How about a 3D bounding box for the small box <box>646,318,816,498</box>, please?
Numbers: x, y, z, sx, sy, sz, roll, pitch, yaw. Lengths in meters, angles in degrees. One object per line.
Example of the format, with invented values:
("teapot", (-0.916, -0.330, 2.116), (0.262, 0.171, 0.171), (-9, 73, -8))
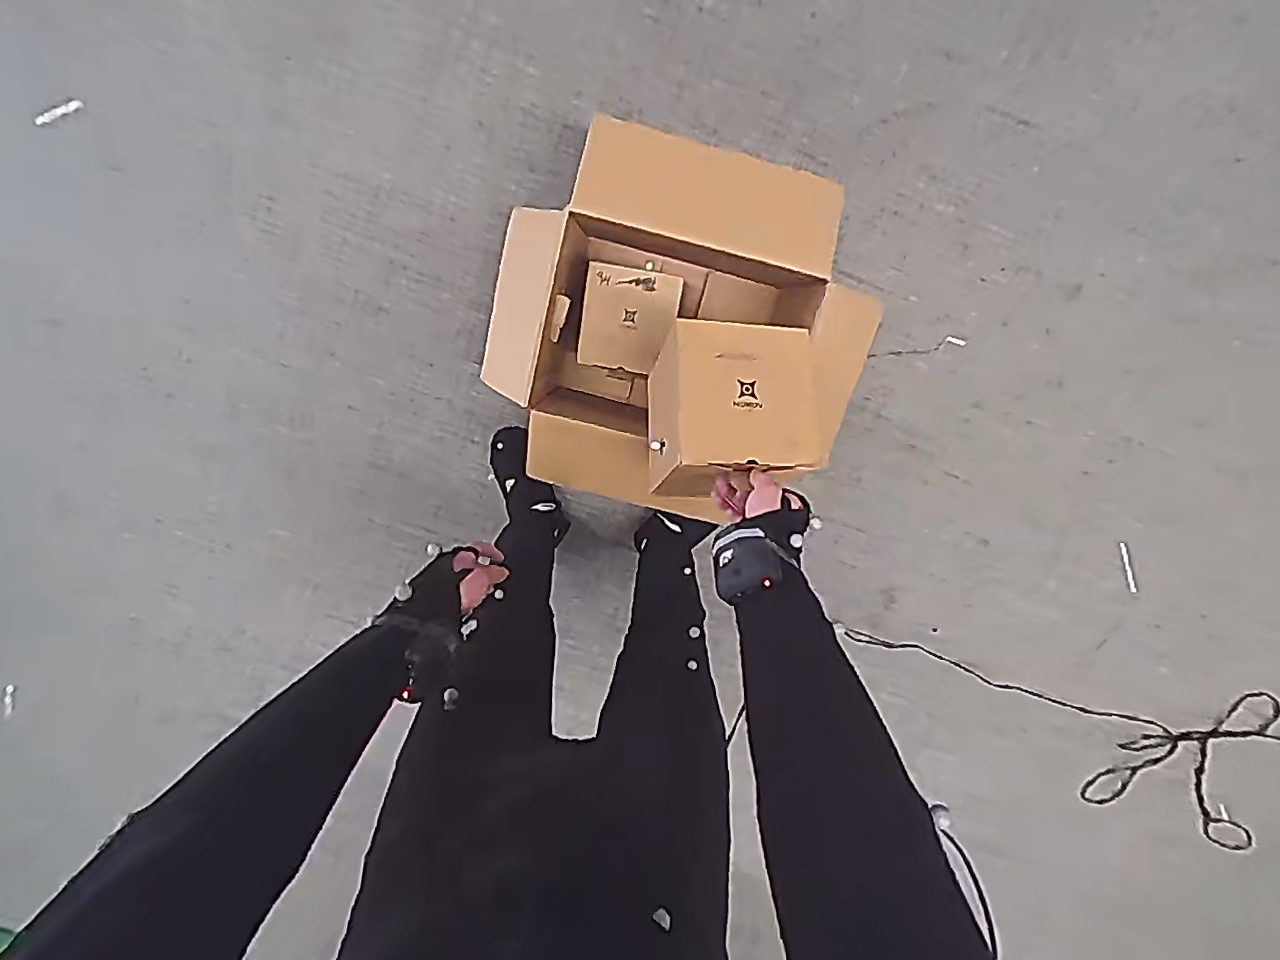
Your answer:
("small box", (0.105, -0.080, 0.695), (0.168, 0.176, 0.179), (3, 73, -11))
